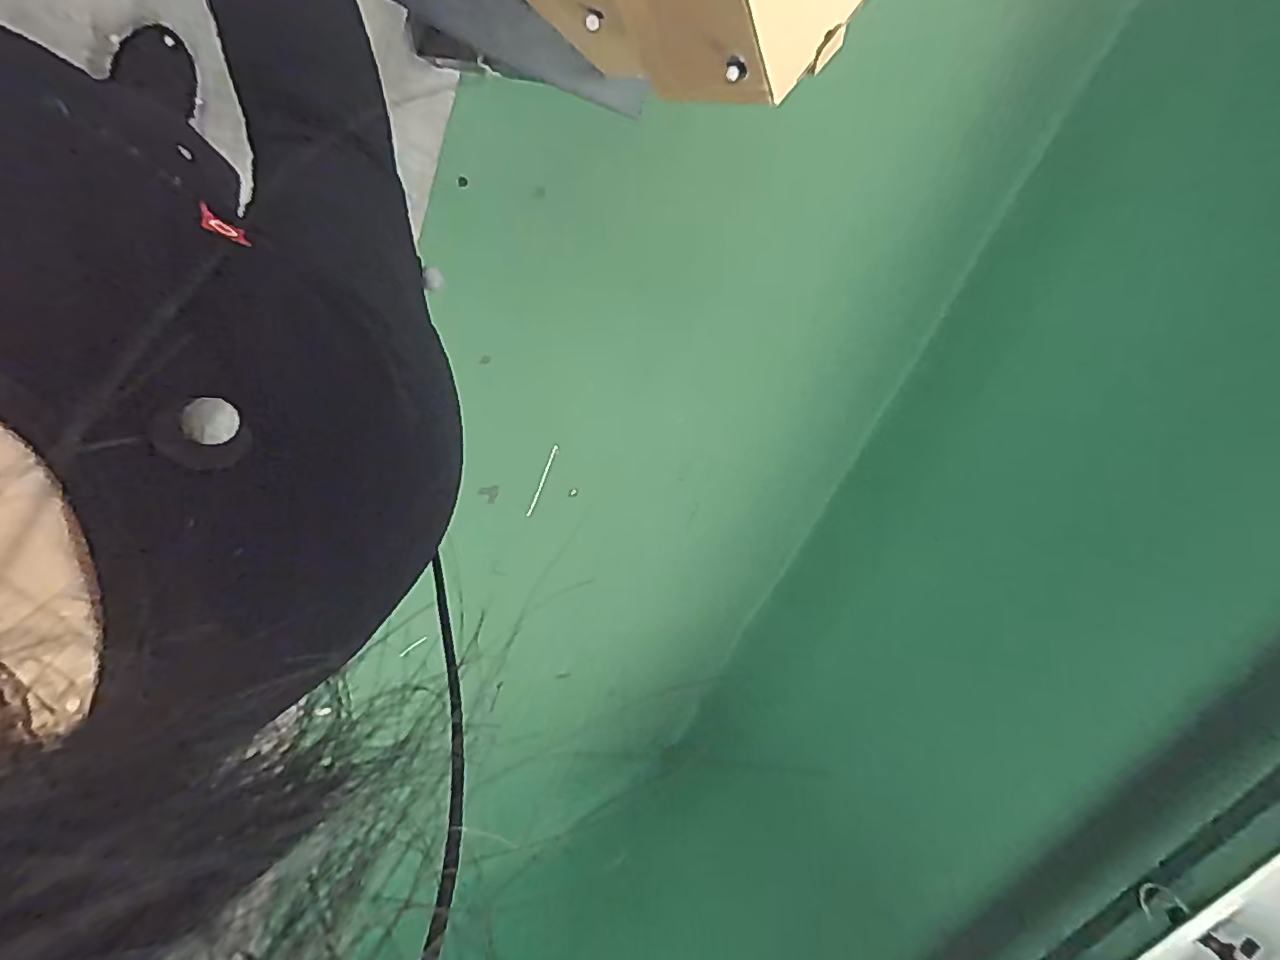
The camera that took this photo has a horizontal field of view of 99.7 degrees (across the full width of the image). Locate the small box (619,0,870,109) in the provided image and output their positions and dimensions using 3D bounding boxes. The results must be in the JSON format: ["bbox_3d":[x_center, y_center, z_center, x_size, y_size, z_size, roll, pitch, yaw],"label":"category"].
[{"bbox_3d":[0.084,-0.472,0.483,0.168,0.176,0.179,-51,142,-2],"label":"small box"}]

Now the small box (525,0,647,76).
[{"bbox_3d":[-0.014,-0.565,0.577,0.179,0.176,0.168,10,111,-47],"label":"small box"}]
